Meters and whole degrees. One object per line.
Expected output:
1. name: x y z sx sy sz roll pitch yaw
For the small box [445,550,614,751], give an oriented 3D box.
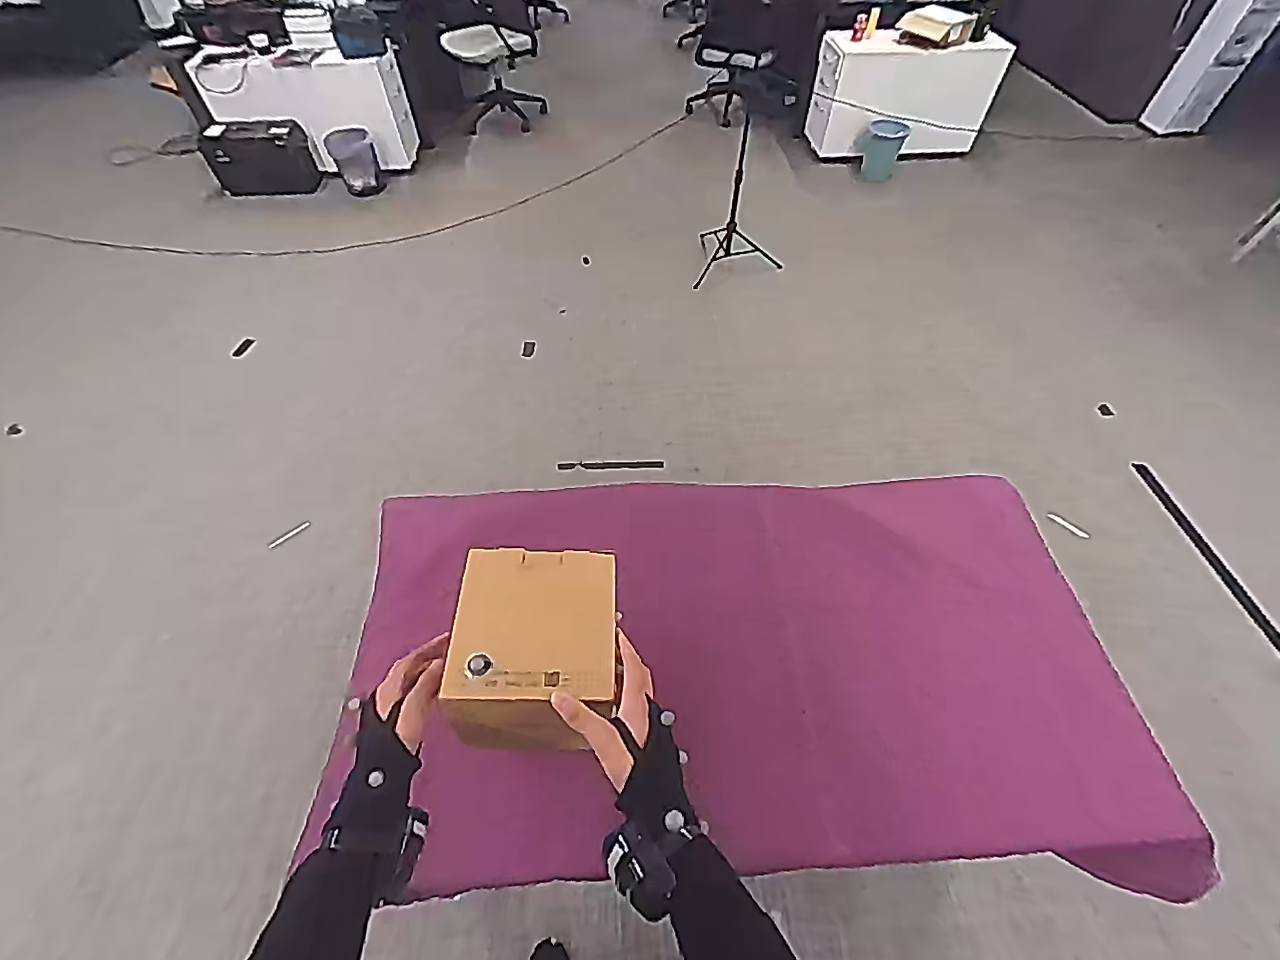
1. small box: -0.117 0.199 0.622 0.168 0.179 0.176 4 49 -6
